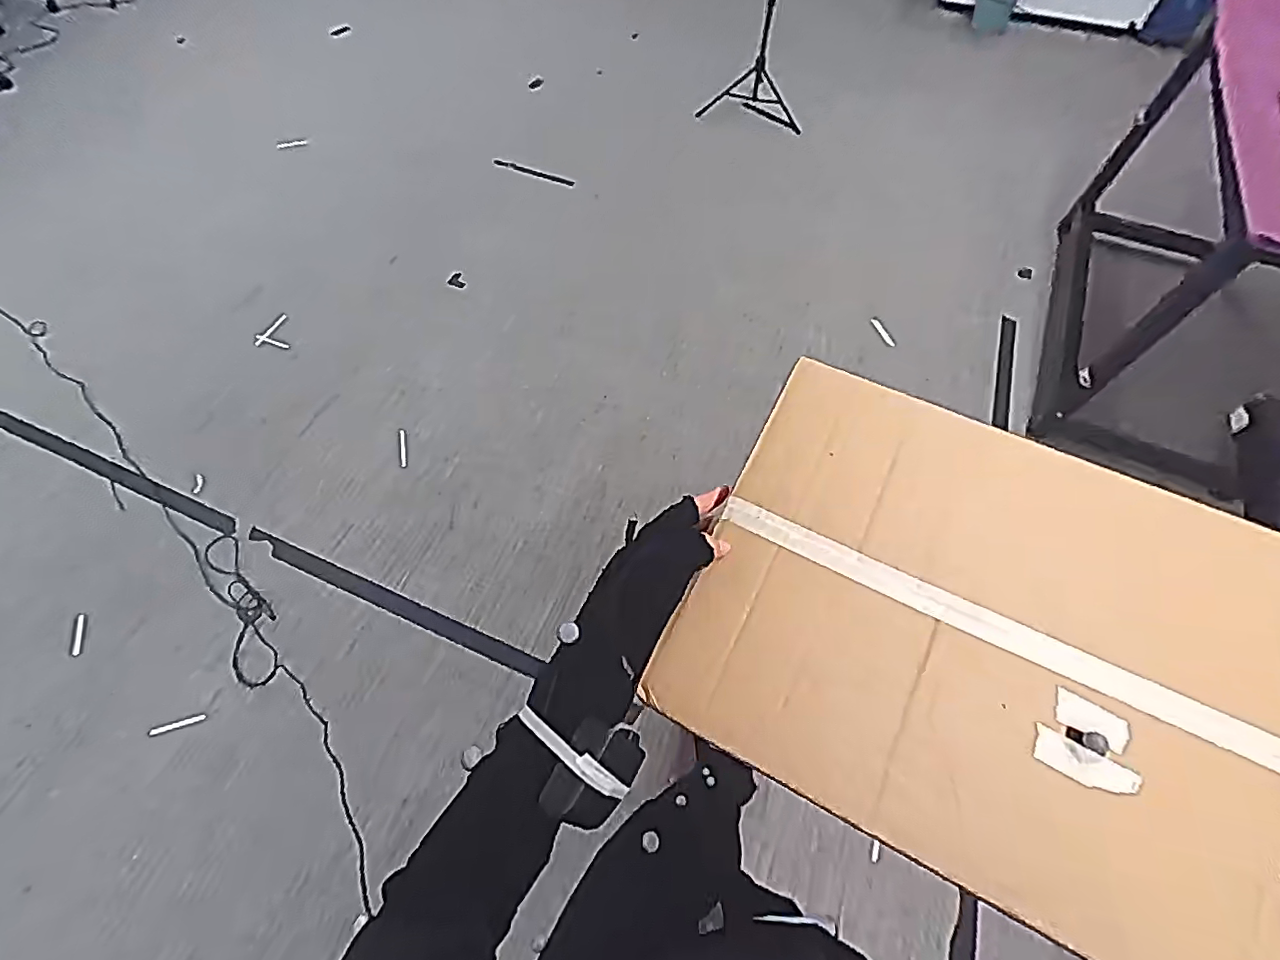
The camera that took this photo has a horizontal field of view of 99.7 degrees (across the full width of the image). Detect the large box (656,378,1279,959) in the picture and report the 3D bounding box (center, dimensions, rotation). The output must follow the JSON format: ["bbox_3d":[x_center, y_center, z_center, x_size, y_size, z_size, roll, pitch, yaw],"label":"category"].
[{"bbox_3d":[0.263,0.166,0.528,0.408,0.320,0.320,25,73,14],"label":"large box"}]
